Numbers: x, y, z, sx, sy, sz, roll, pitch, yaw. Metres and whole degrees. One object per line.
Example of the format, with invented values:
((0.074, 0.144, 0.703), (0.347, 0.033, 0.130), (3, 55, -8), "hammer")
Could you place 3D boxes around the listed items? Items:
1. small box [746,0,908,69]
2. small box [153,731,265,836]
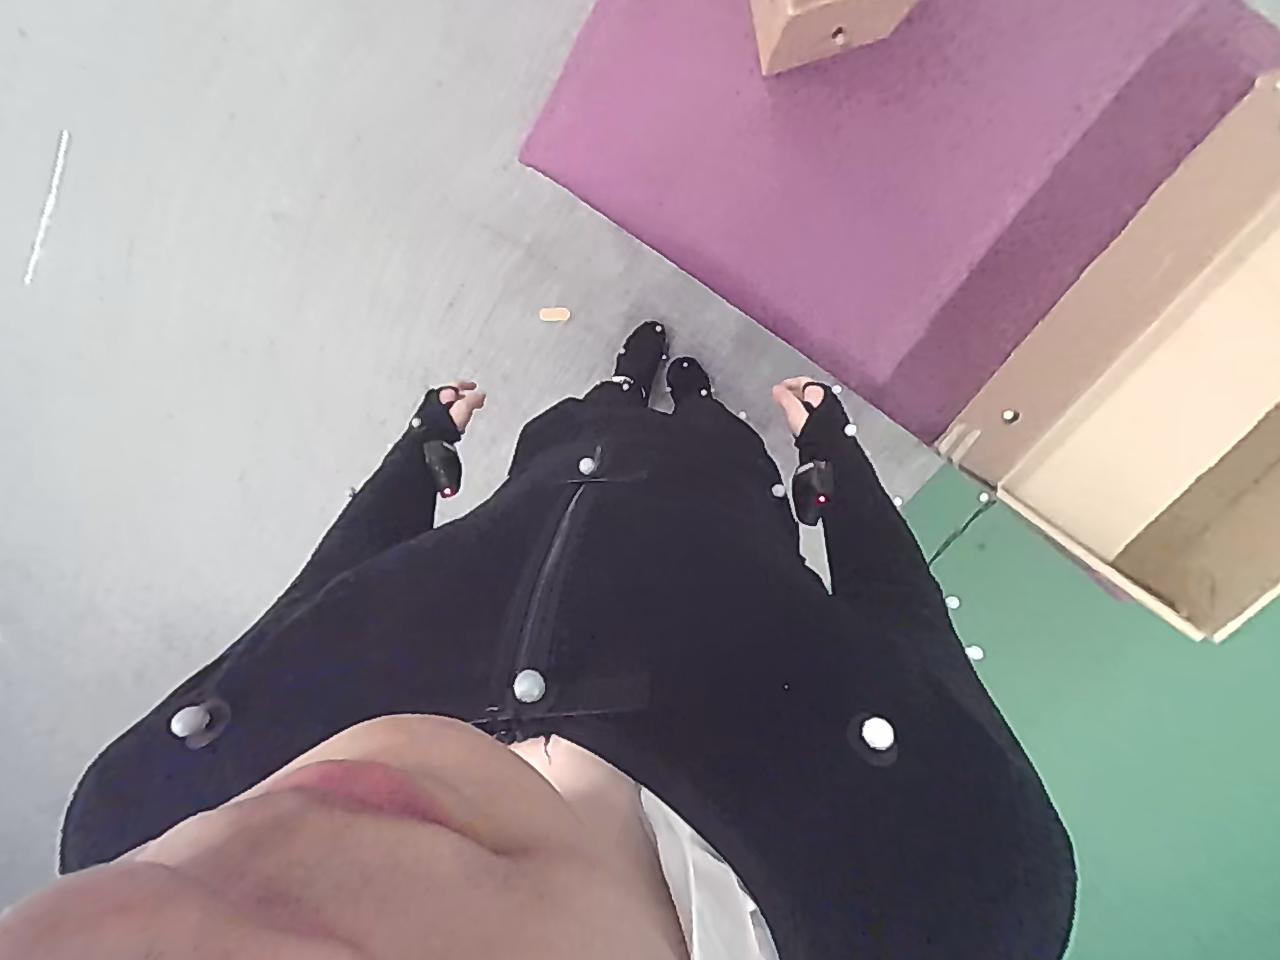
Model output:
((0.214, -0.607, 0.615), (0.168, 0.176, 0.179), (-13, 107, 6), "small box")
((-1.257, 0.887, 1.595), (0.168, 0.176, 0.179), (41, 103, -10), "small box")
